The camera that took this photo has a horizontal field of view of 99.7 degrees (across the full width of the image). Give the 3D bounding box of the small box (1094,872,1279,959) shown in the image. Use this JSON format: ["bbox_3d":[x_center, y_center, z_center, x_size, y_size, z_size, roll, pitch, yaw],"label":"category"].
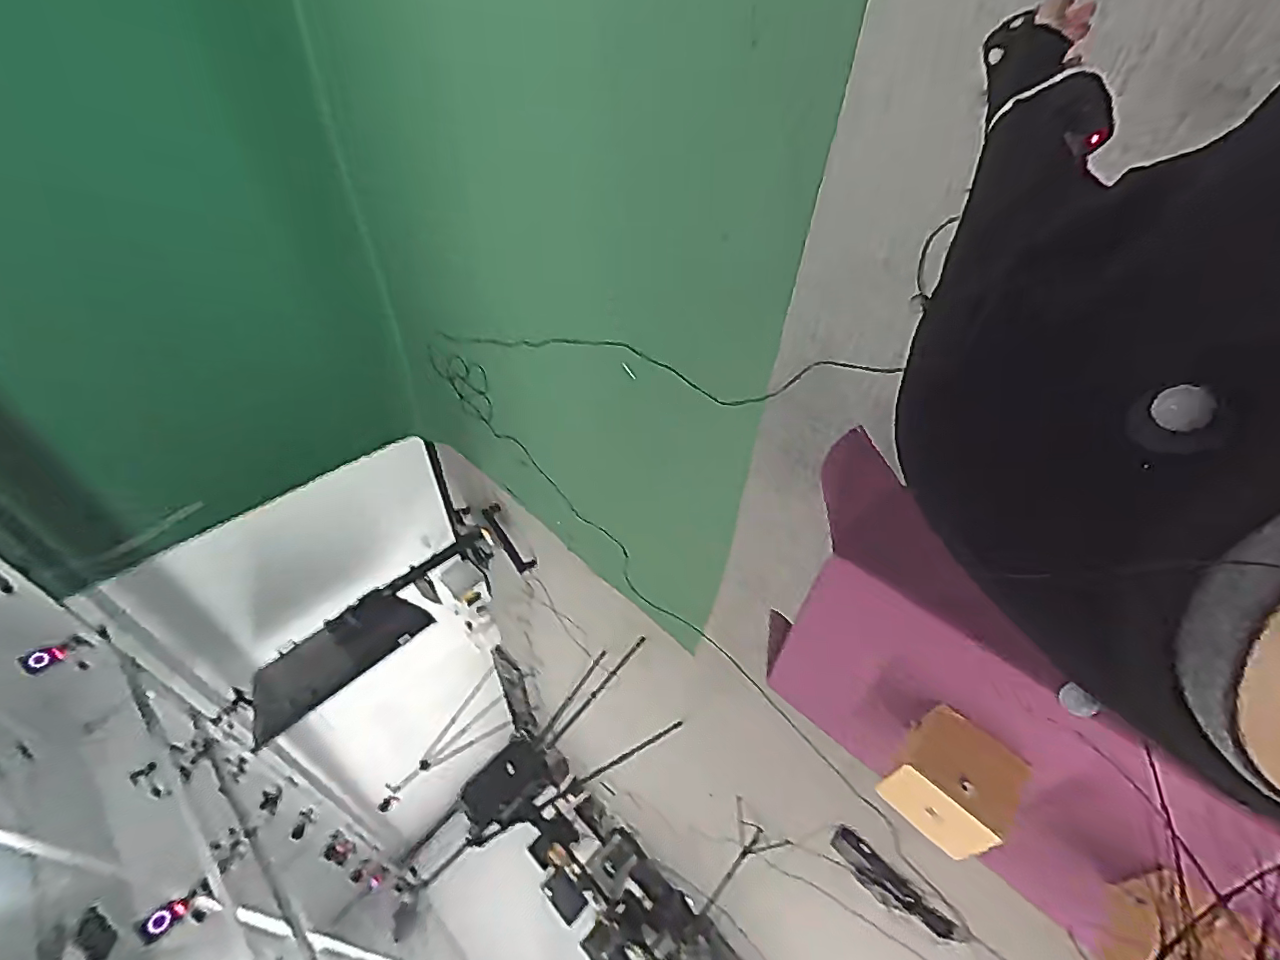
[{"bbox_3d":[0.882,0.779,0.859,0.179,0.176,0.168,35,143,30],"label":"small box"}]

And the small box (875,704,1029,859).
[{"bbox_3d":[0.598,0.574,1.039,0.179,0.176,0.168,38,143,26],"label":"small box"}]
